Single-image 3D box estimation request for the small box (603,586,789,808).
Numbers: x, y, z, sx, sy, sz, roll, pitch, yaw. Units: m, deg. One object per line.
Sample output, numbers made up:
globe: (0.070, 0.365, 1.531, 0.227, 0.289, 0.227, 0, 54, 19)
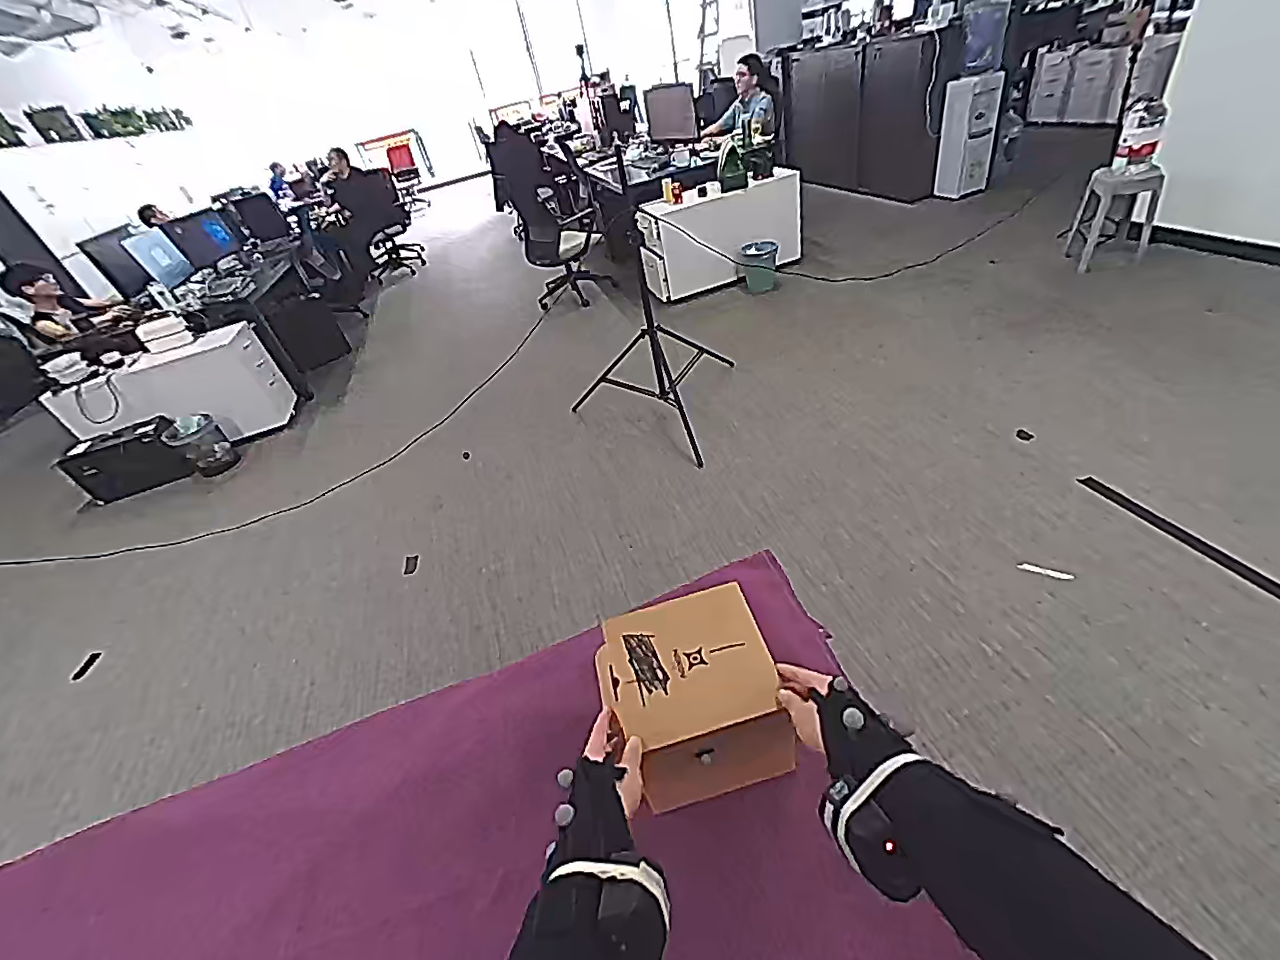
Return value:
small box: (0.069, 0.262, 0.650, 0.179, 0.176, 0.168, -16, 40, -3)
